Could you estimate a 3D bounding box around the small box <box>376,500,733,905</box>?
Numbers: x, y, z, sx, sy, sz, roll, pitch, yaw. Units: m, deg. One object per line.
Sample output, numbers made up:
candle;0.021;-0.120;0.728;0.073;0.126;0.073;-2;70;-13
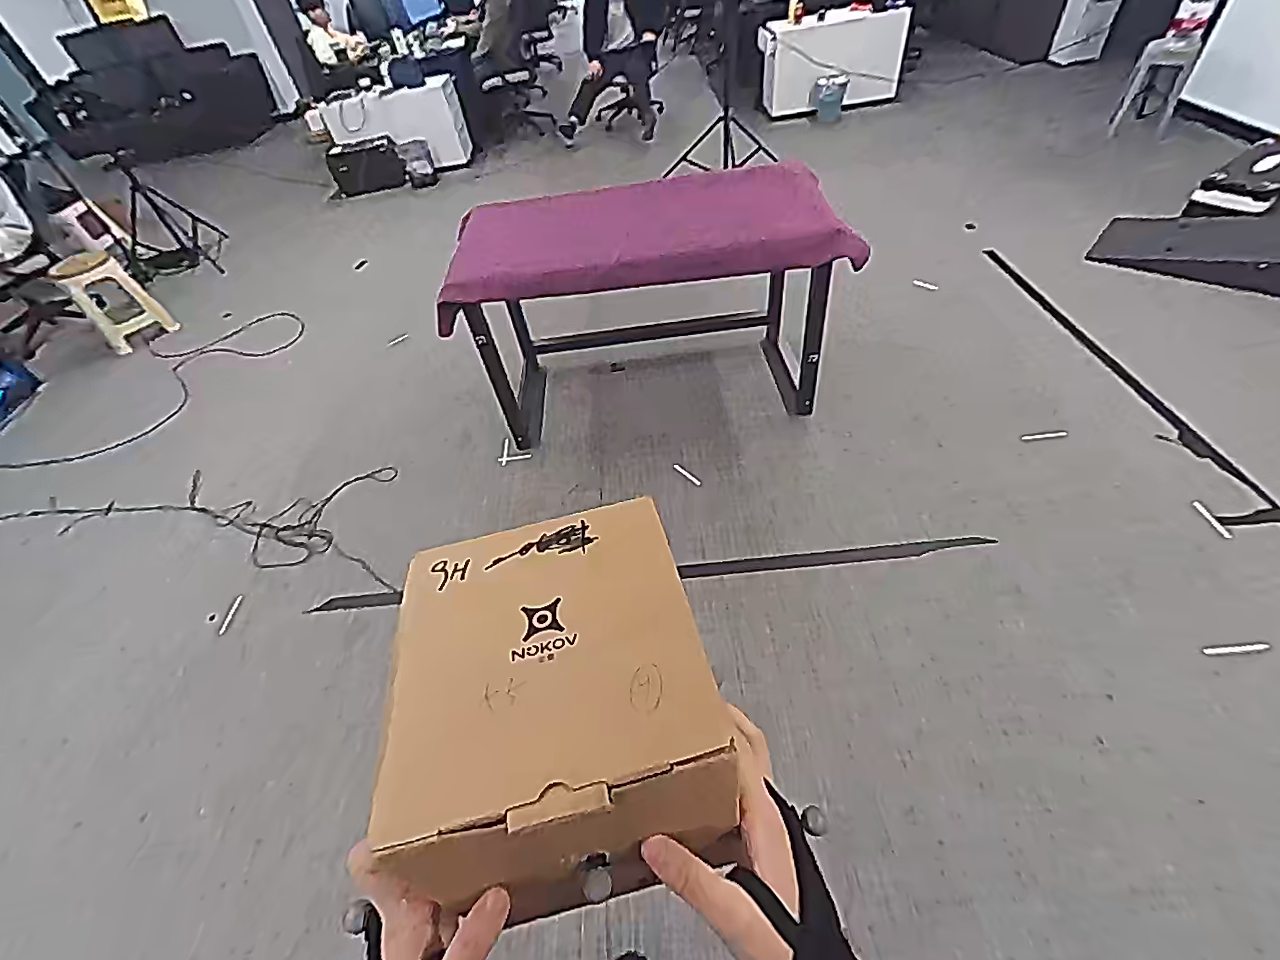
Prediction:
small box;-0.043;0.146;0.353;0.168;0.176;0.179;-14;41;-4
